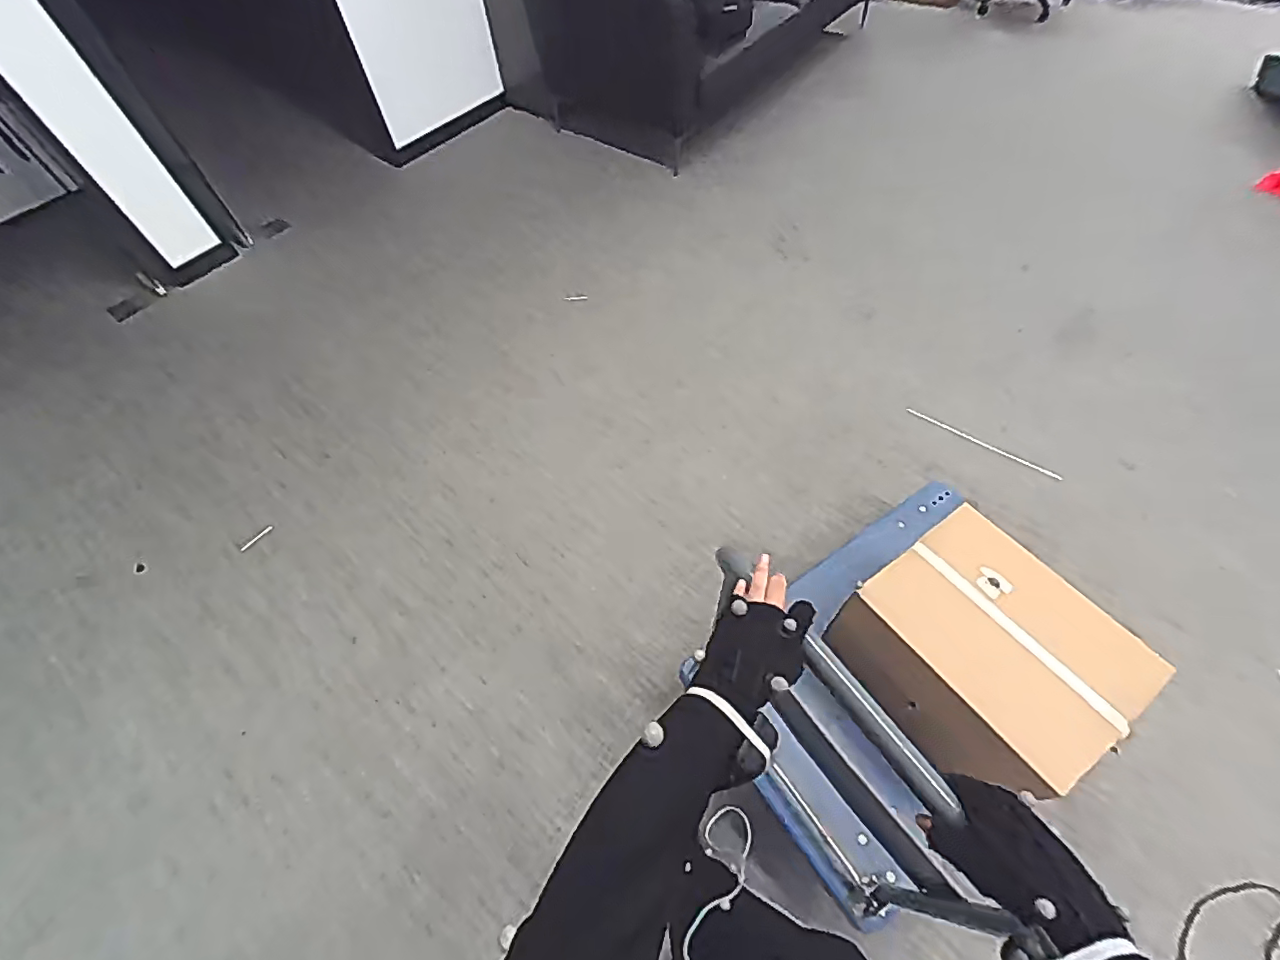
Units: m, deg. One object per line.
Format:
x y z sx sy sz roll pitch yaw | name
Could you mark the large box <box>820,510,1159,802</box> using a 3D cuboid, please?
0.633 0.346 1.068 0.320 0.320 0.408 -32 59 -15 | large box
